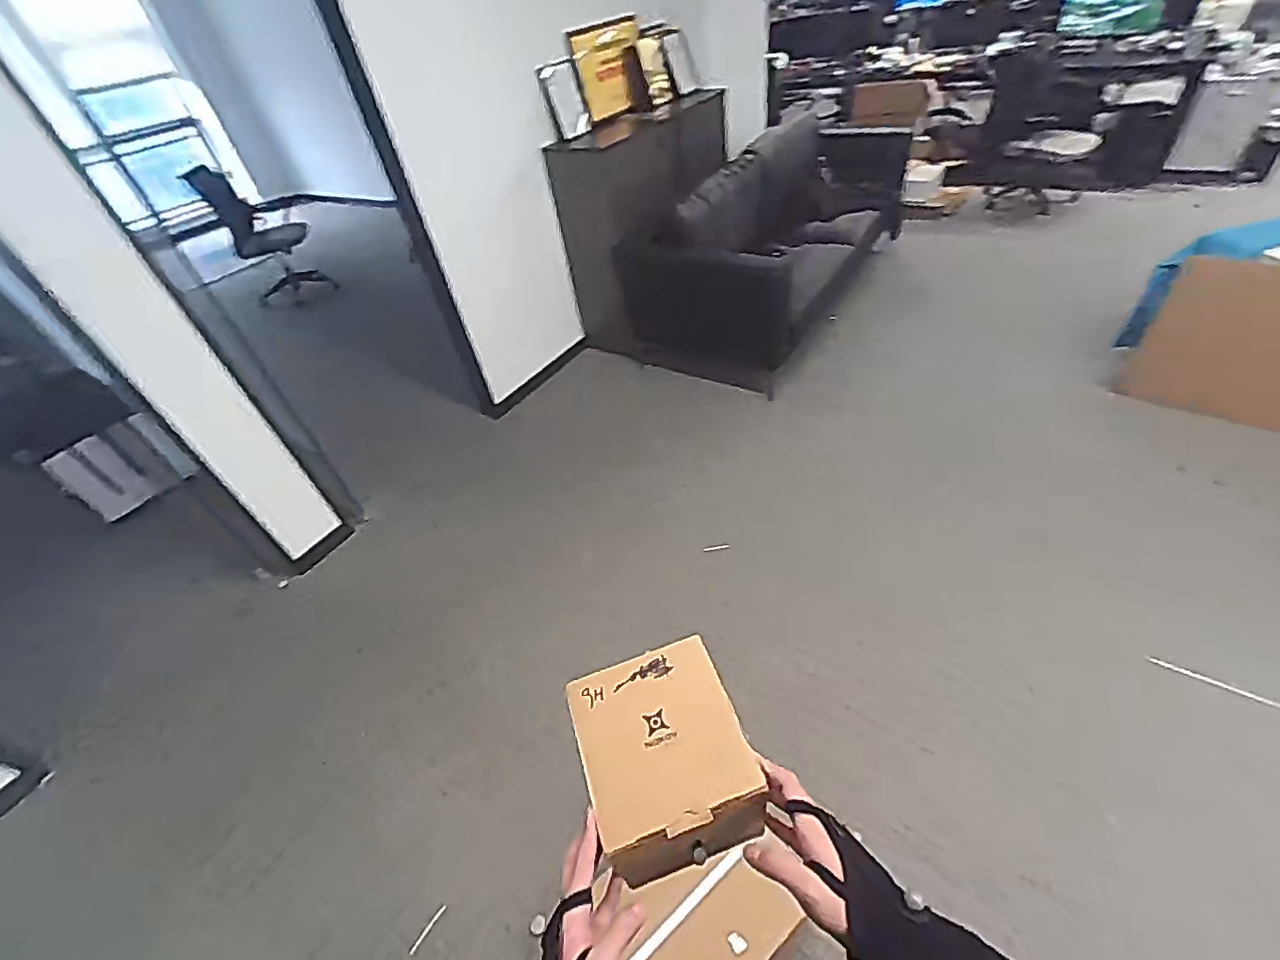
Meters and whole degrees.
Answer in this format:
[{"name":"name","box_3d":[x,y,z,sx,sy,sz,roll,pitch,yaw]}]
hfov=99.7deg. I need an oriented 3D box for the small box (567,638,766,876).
[{"name":"small box","box_3d":[0.030,0.317,0.611,0.168,0.176,0.179,-17,45,-7]}]
